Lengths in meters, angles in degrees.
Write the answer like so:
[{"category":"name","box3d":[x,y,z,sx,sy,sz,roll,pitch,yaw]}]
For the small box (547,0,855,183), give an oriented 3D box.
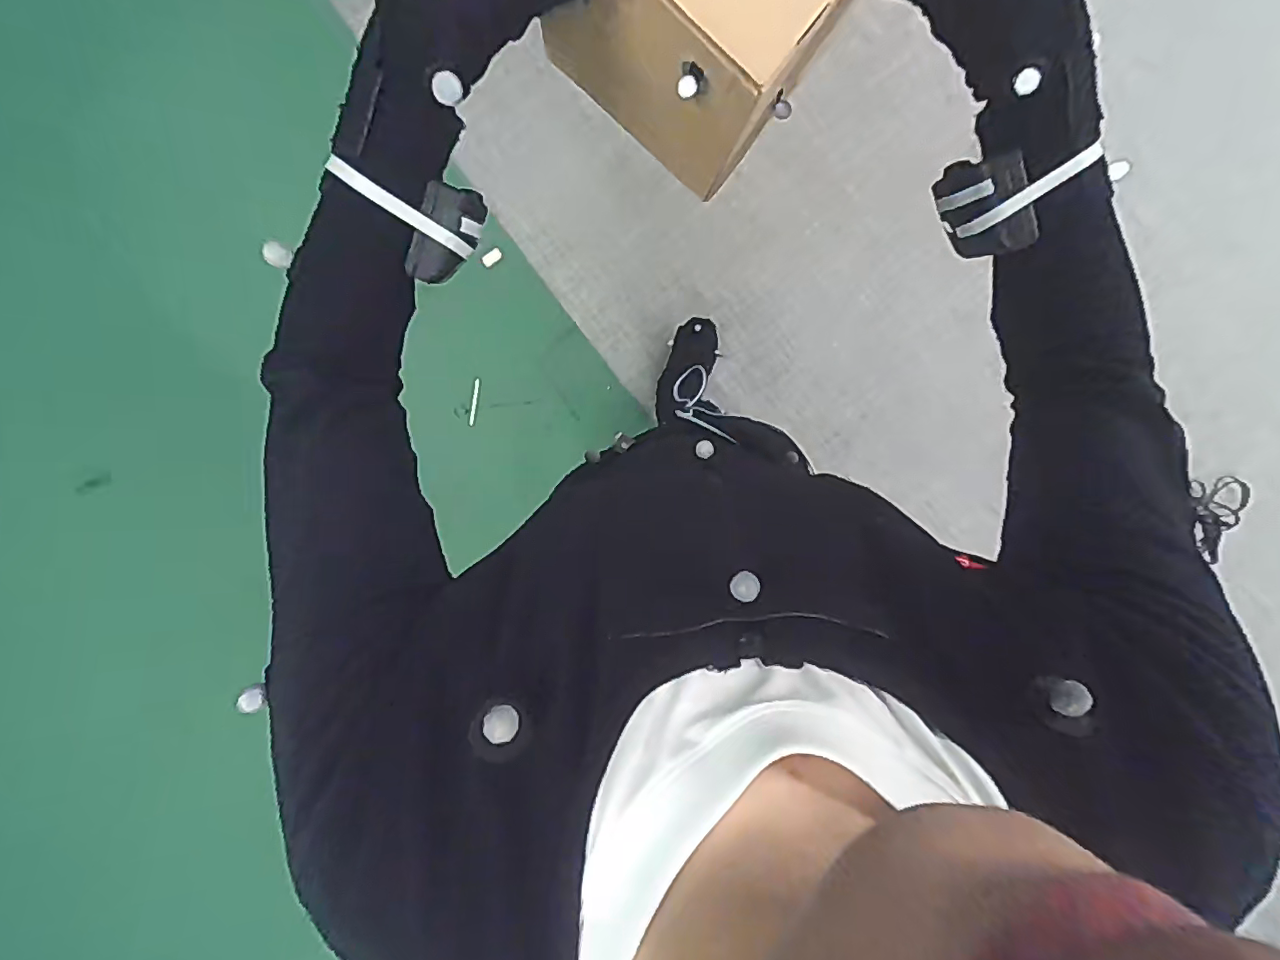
[{"category":"small box","box3d":[0.046,-0.349,0.371,0.179,0.176,0.168,39,93,-10]}]
